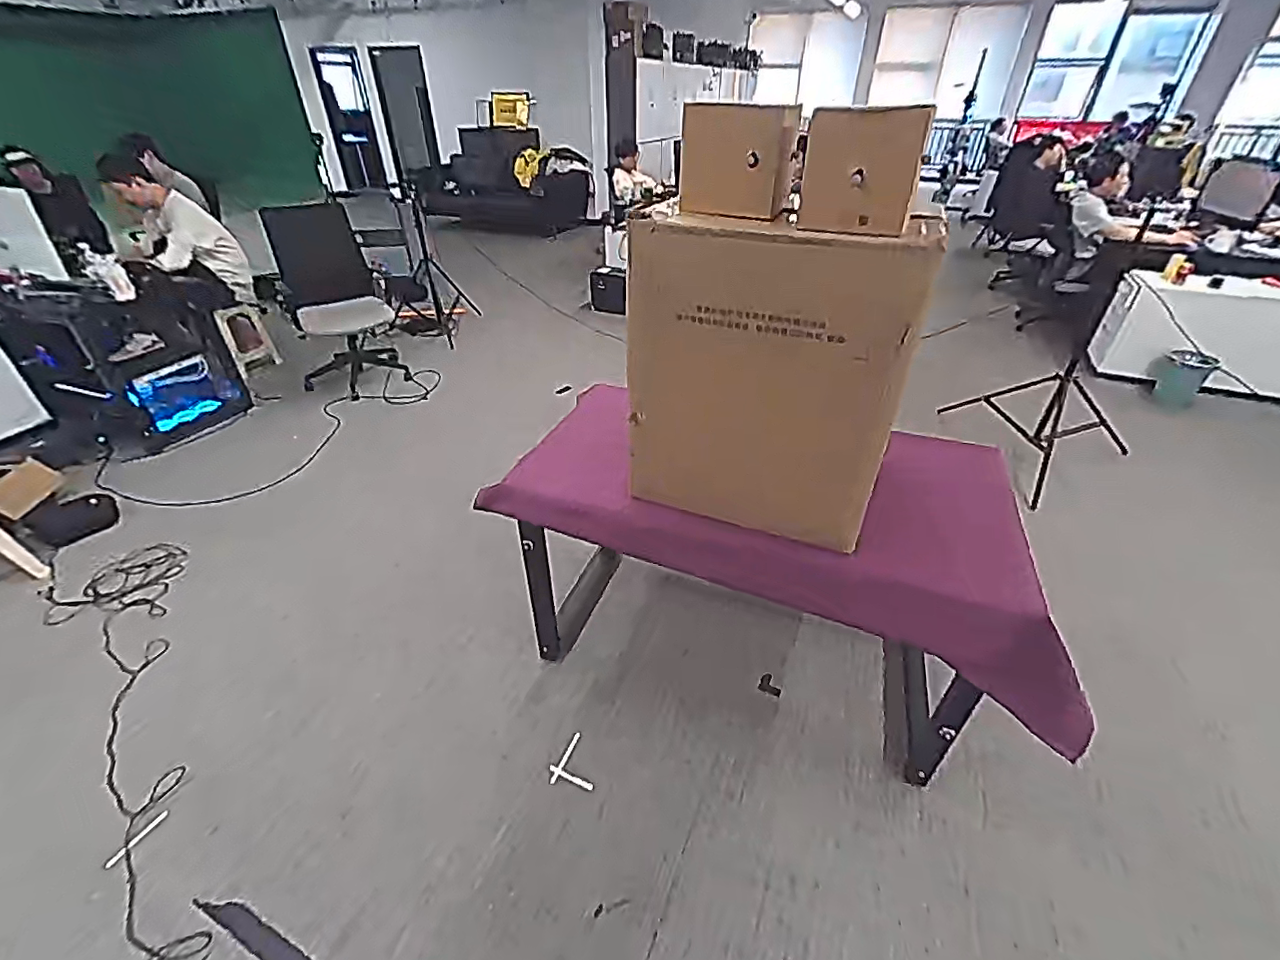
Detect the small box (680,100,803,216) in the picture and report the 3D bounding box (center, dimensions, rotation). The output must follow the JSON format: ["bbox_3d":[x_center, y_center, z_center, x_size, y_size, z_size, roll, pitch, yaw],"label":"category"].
[{"bbox_3d":[0.181,-0.584,0.982,0.179,0.176,0.168,14,37,19],"label":"small box"}]

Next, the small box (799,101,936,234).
[{"bbox_3d":[0.362,-0.504,0.872,0.168,0.176,0.179,15,38,21],"label":"small box"}]
